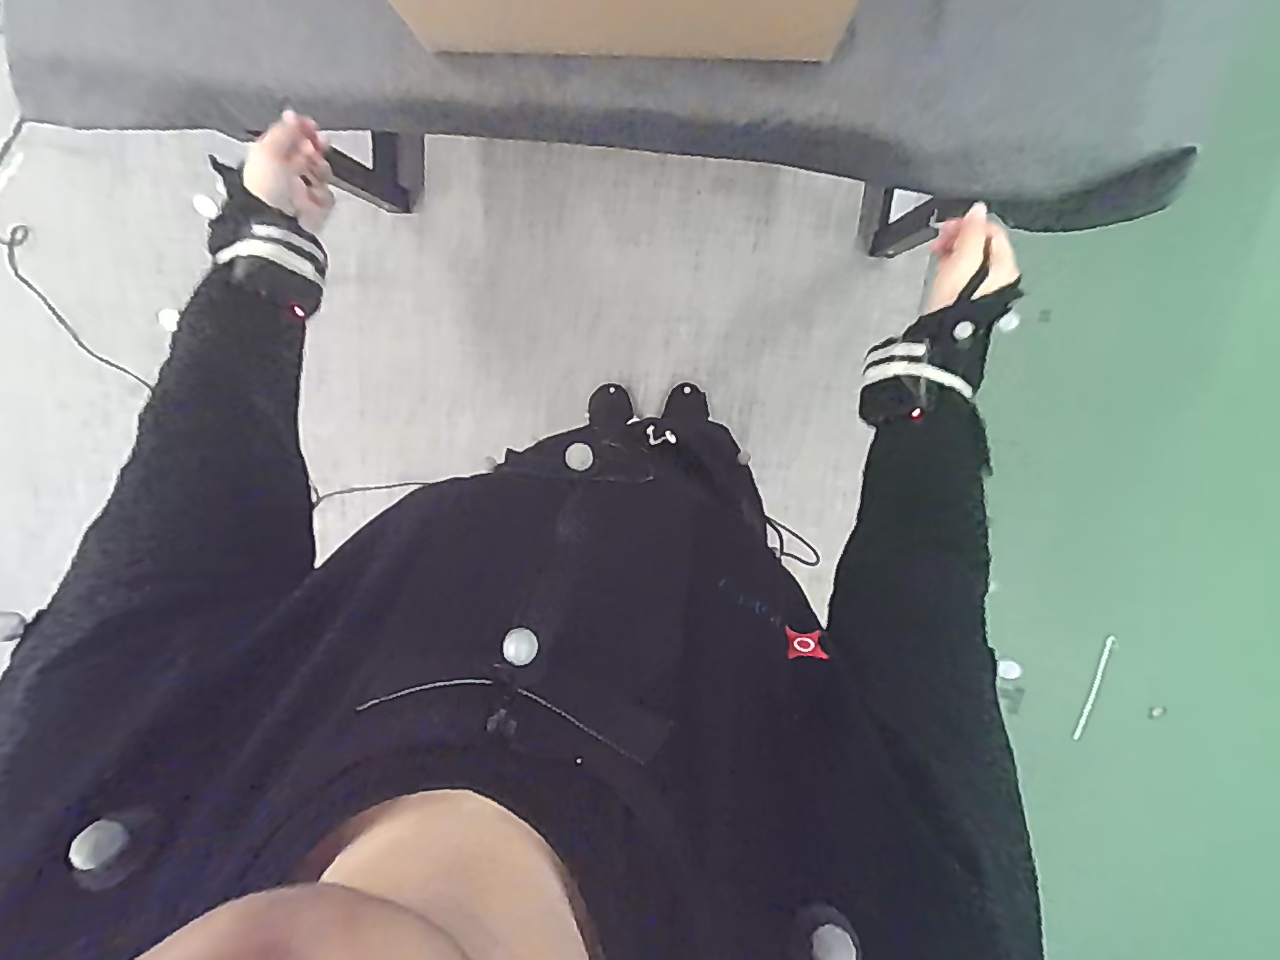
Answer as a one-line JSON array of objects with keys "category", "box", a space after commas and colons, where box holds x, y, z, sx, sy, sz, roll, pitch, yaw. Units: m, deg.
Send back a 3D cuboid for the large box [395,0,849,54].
[{"category": "large box", "box": [-0.019, -0.542, 0.362, 0.408, 0.320, 0.320, 3, 102, 2]}]
